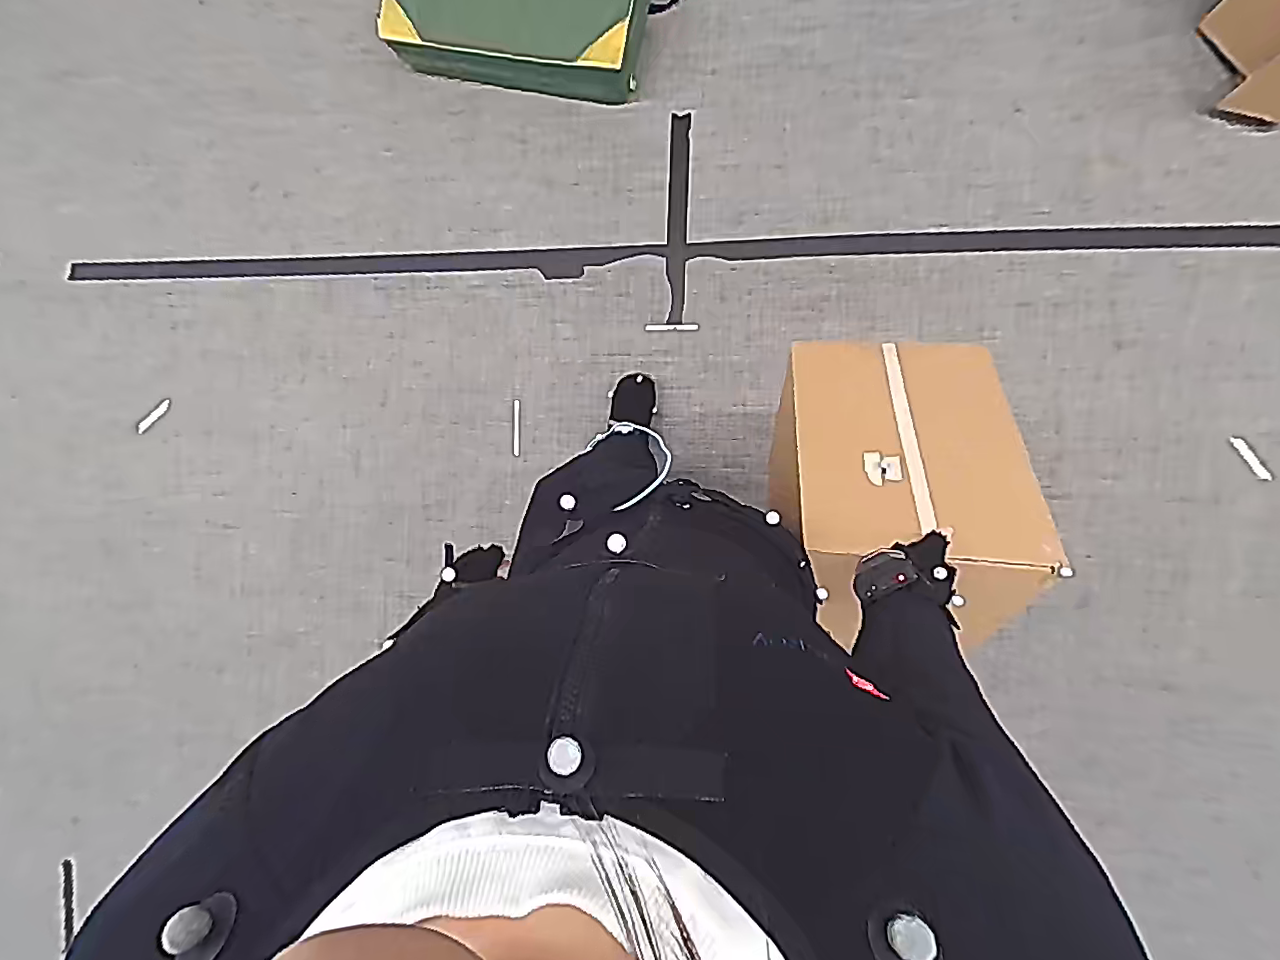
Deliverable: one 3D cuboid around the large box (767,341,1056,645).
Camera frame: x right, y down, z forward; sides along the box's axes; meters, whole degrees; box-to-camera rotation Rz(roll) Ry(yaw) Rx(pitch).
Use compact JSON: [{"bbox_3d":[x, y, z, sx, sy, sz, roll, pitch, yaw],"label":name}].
[{"bbox_3d":[0.389,0.021,0.906,0.320,0.320,0.408,2,56,9],"label":"large box"}]
